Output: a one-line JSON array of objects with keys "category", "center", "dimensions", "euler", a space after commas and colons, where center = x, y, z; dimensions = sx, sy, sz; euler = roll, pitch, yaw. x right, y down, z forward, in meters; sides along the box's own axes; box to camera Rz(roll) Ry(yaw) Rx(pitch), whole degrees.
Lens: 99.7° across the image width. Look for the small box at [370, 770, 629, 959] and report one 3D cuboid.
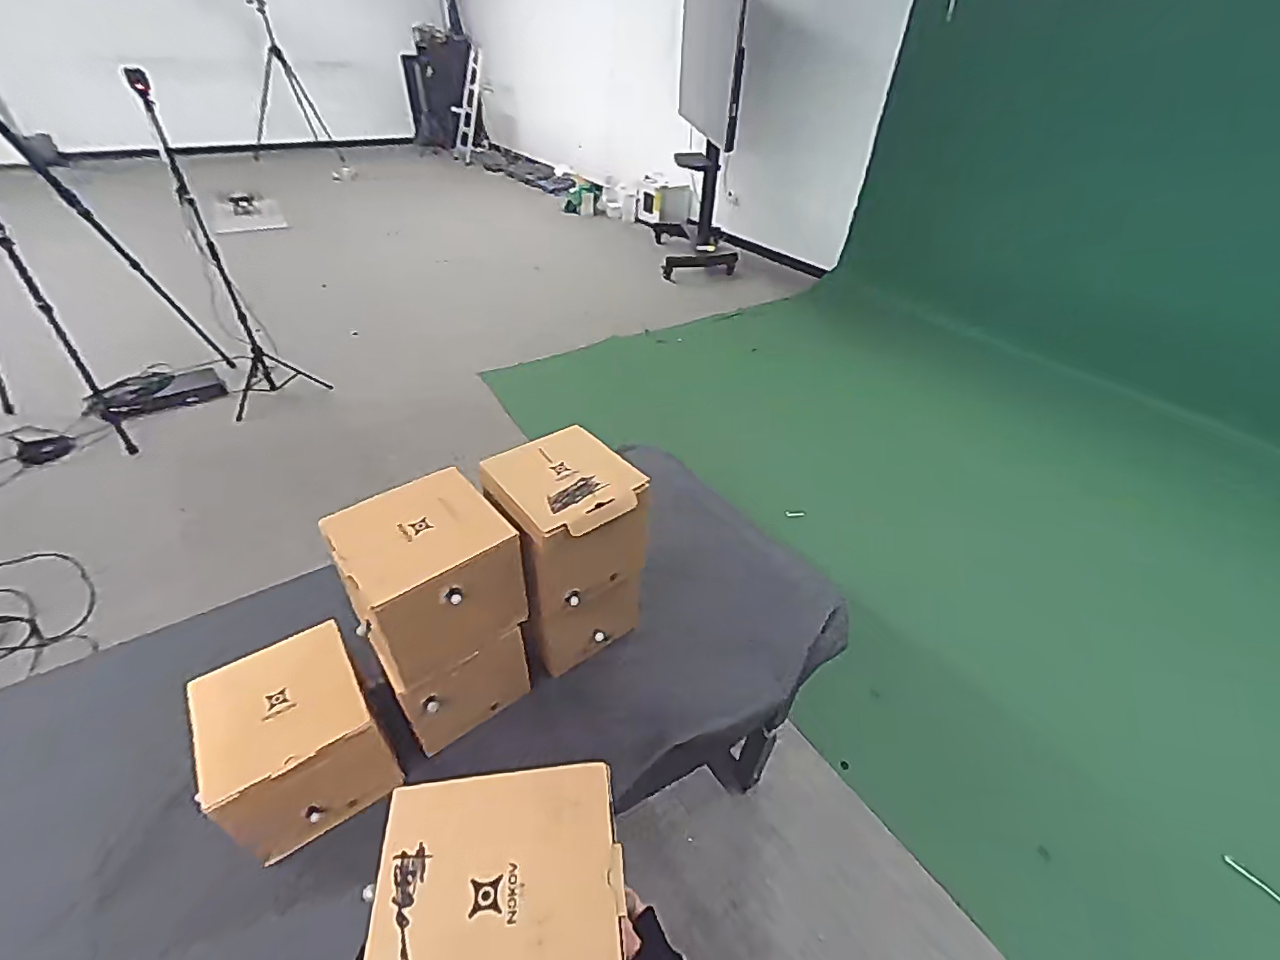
[{"category": "small box", "center": [-0.105, 0.362, 0.447], "dimensions": [0.179, 0.176, 0.168], "euler": [-1, 42, -7]}]
